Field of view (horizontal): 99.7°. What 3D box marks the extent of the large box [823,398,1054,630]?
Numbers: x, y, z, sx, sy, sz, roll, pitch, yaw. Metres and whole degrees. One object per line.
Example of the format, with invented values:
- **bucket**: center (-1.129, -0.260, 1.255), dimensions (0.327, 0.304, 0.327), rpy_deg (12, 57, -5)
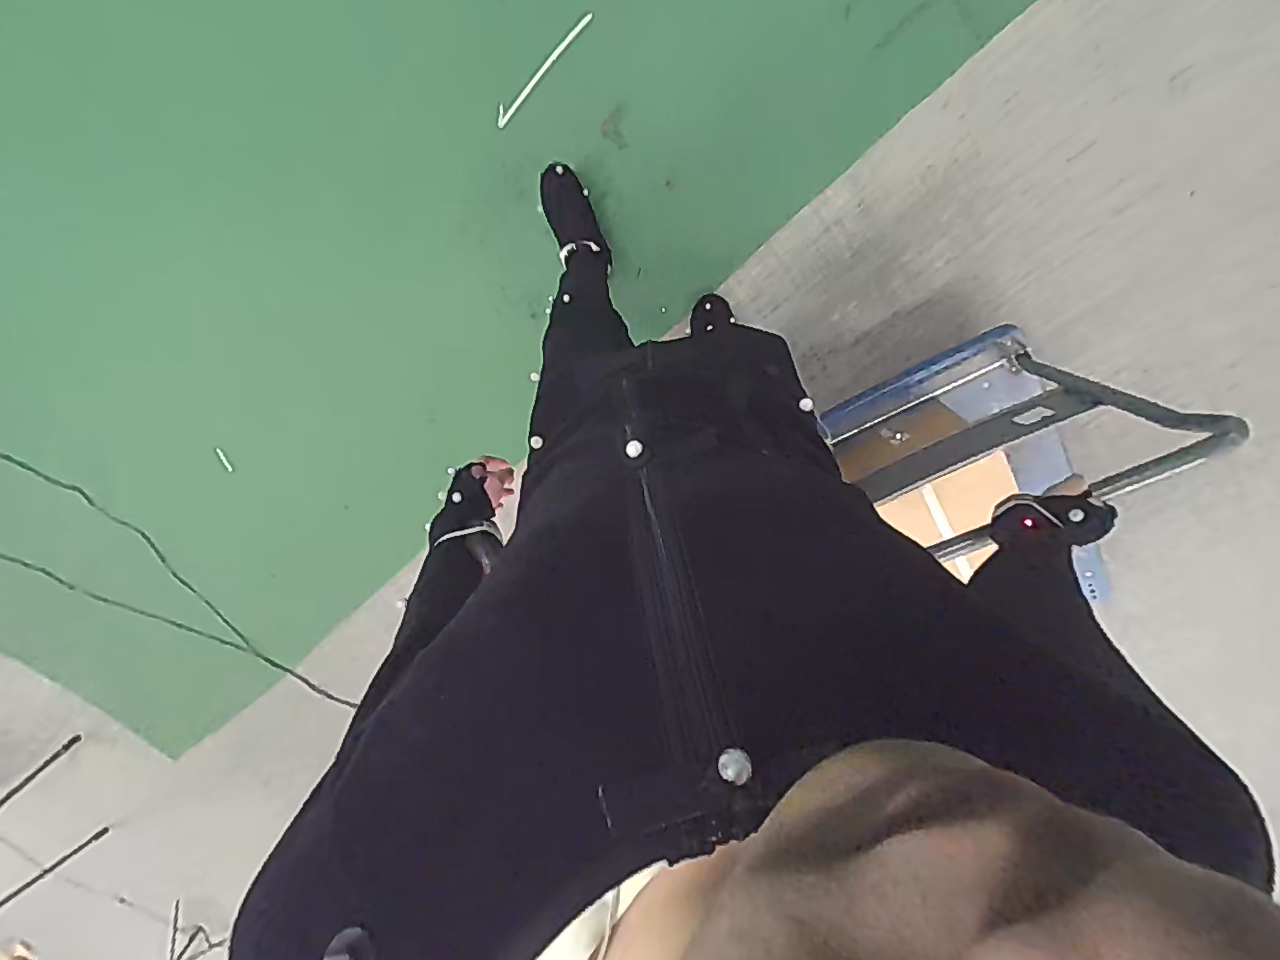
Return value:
- **large box**: center (0.701, 0.076, 1.321), dimensions (0.320, 0.320, 0.408), rpy_deg (-28, 110, 18)
